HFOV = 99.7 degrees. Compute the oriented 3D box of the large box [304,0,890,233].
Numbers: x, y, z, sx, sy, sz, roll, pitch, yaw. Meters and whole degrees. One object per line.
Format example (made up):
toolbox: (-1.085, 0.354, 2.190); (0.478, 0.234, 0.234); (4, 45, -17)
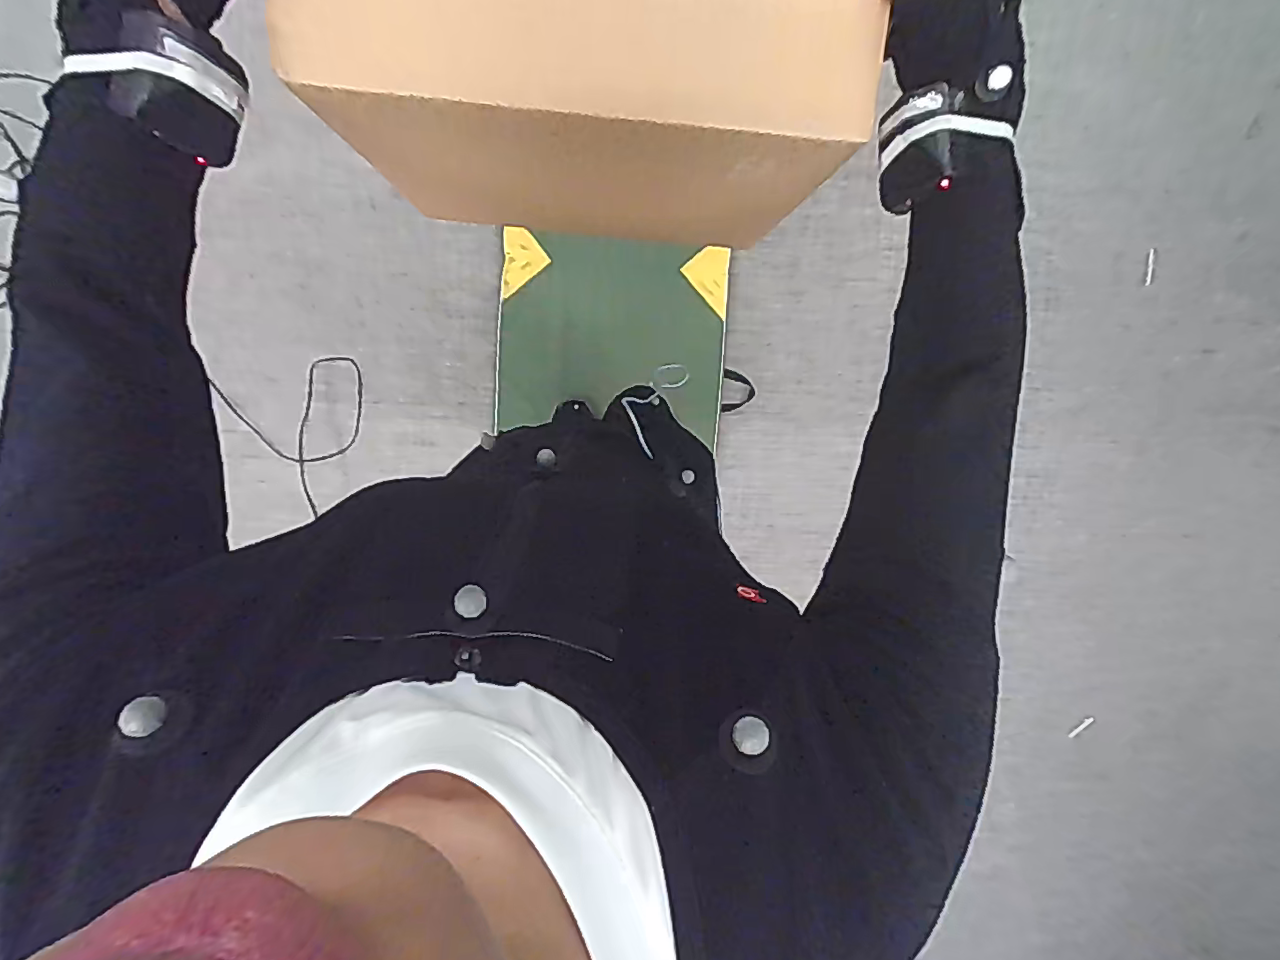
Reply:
large box: (-0.030, -0.439, 0.496); (0.408, 0.320, 0.320); (3, 101, -5)
